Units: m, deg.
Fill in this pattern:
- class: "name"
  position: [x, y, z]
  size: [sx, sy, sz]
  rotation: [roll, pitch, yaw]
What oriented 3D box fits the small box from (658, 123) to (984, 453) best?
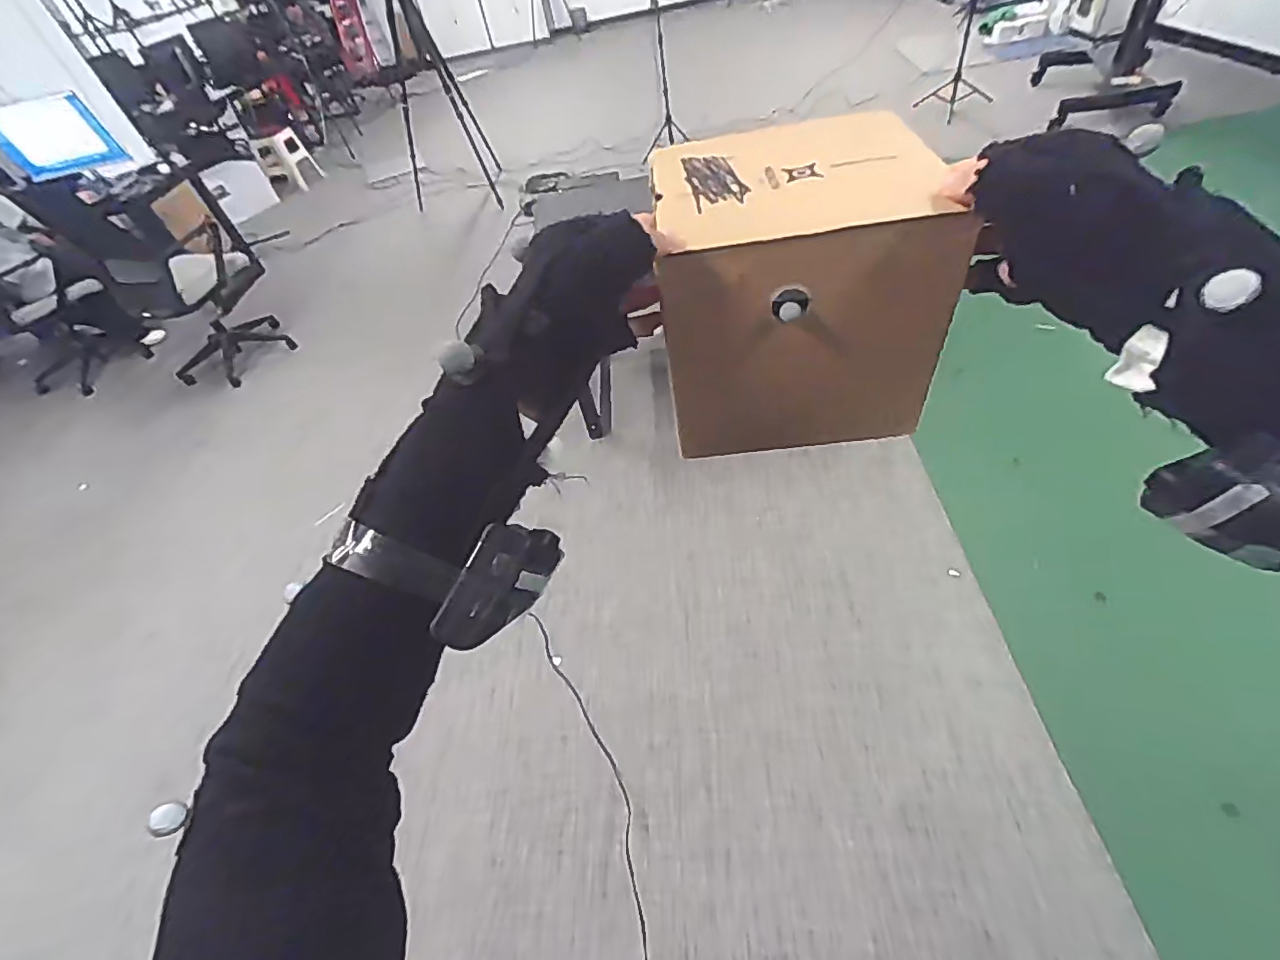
- class: "small box"
  position: [0.111, -0.135, 0.405]
  size: [0.179, 0.176, 0.168]
  rotation: [-5, 49, 6]
